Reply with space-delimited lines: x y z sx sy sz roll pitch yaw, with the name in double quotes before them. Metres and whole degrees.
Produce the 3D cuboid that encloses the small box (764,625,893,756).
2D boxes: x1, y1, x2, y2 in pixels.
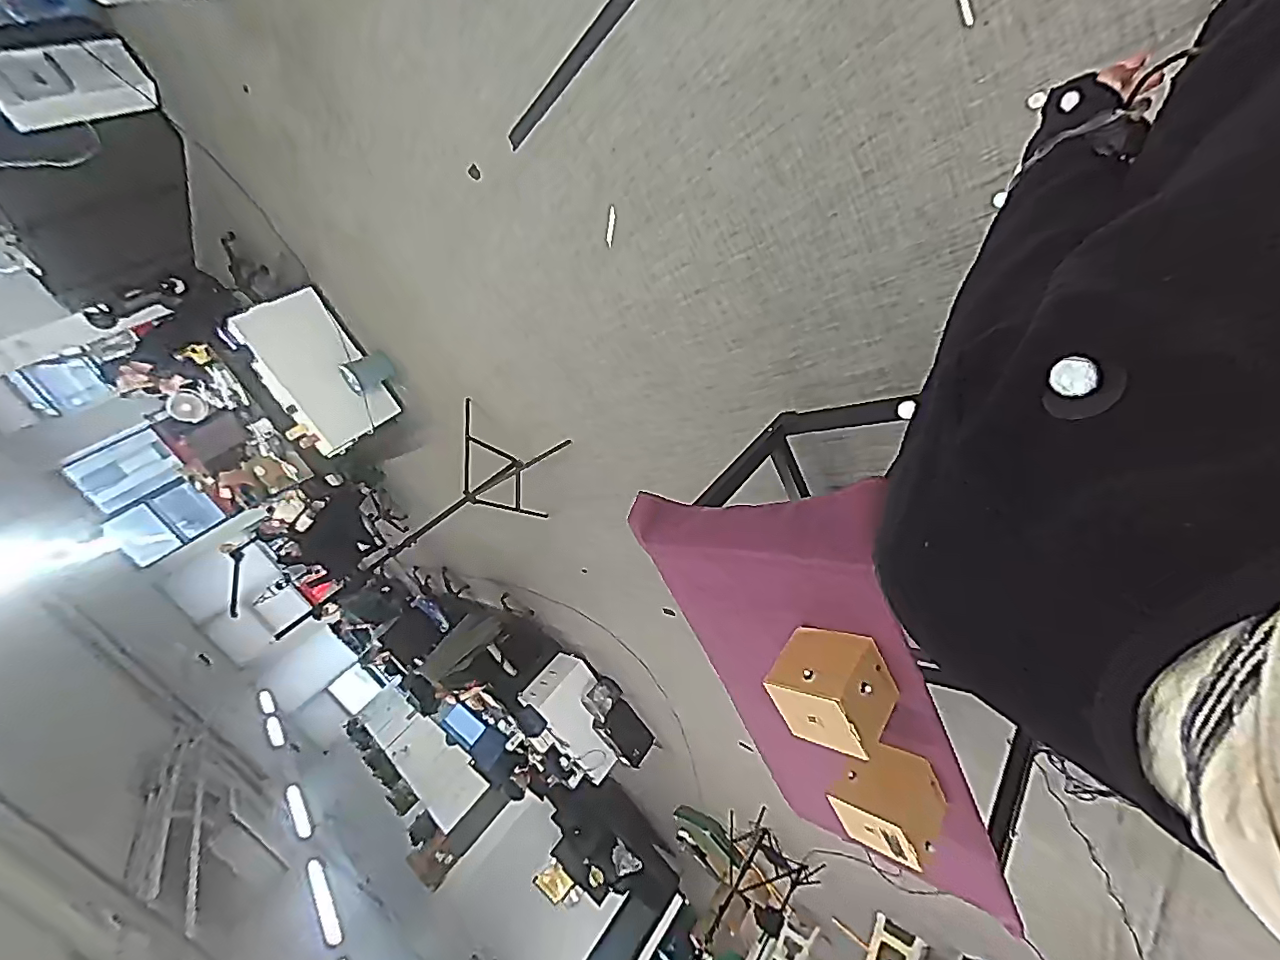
"small box" 0.395 0.421 1.112 0.179 0.176 0.168 -6 120 52
